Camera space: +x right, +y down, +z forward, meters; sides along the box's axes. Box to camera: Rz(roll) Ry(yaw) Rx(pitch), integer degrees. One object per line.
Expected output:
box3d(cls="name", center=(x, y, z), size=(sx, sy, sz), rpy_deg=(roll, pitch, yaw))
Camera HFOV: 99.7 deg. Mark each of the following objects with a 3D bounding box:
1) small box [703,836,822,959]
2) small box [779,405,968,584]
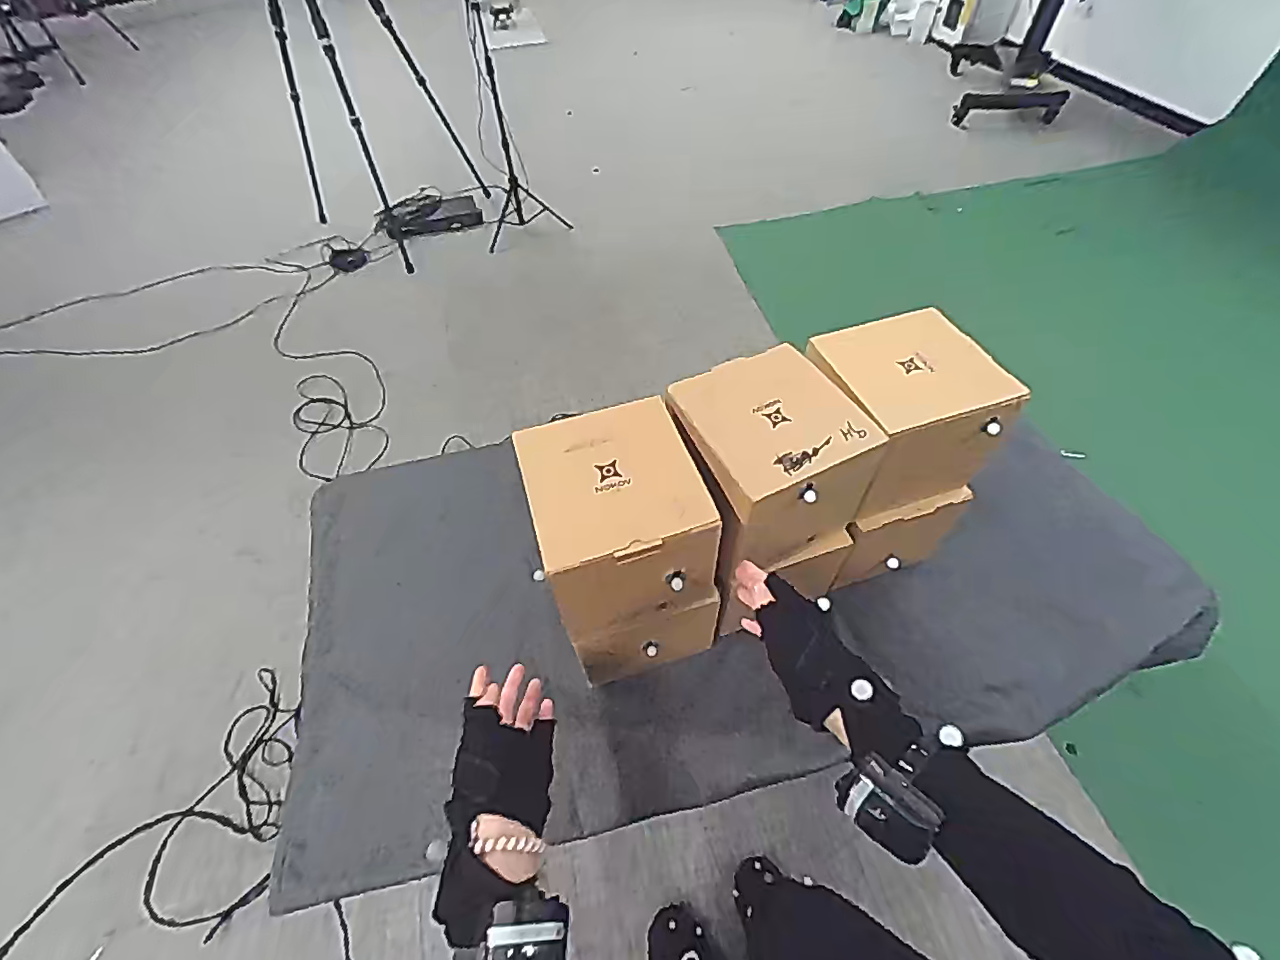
box3d(cls="small box", center=(0.245, 0.864, 1.061), size=(0.168, 0.176, 0.179), rpy_deg=(2, 18, 42))
box3d(cls="small box", center=(0.322, 0.023, 0.793), size=(0.168, 0.176, 0.179), rpy_deg=(-16, 54, -8))
